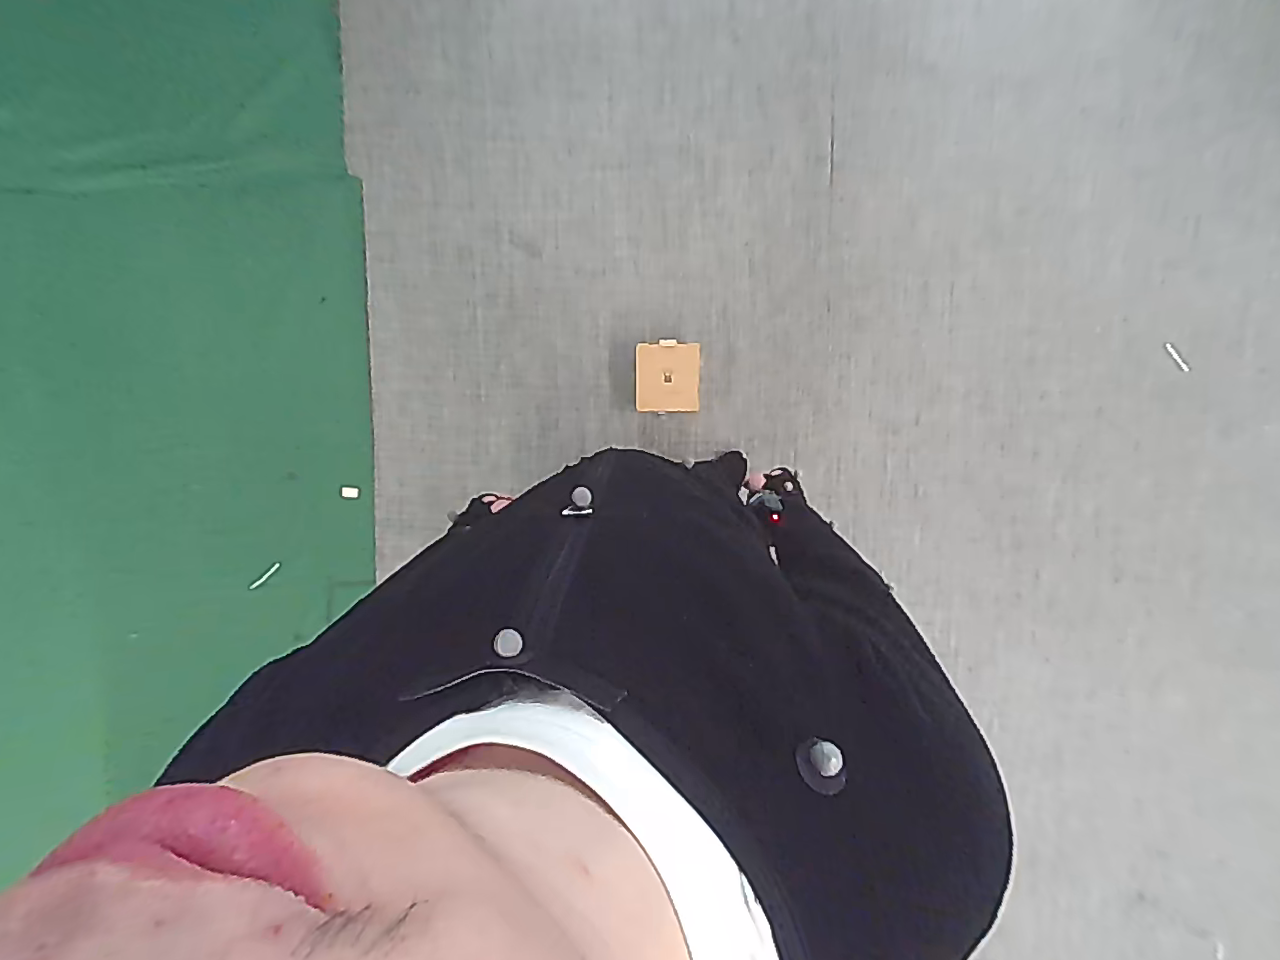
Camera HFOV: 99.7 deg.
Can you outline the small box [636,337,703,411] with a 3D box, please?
[{"bbox_3d":[0.078,-0.281,1.458,0.168,0.176,0.179,2,95,4],"label":"small box"}]
